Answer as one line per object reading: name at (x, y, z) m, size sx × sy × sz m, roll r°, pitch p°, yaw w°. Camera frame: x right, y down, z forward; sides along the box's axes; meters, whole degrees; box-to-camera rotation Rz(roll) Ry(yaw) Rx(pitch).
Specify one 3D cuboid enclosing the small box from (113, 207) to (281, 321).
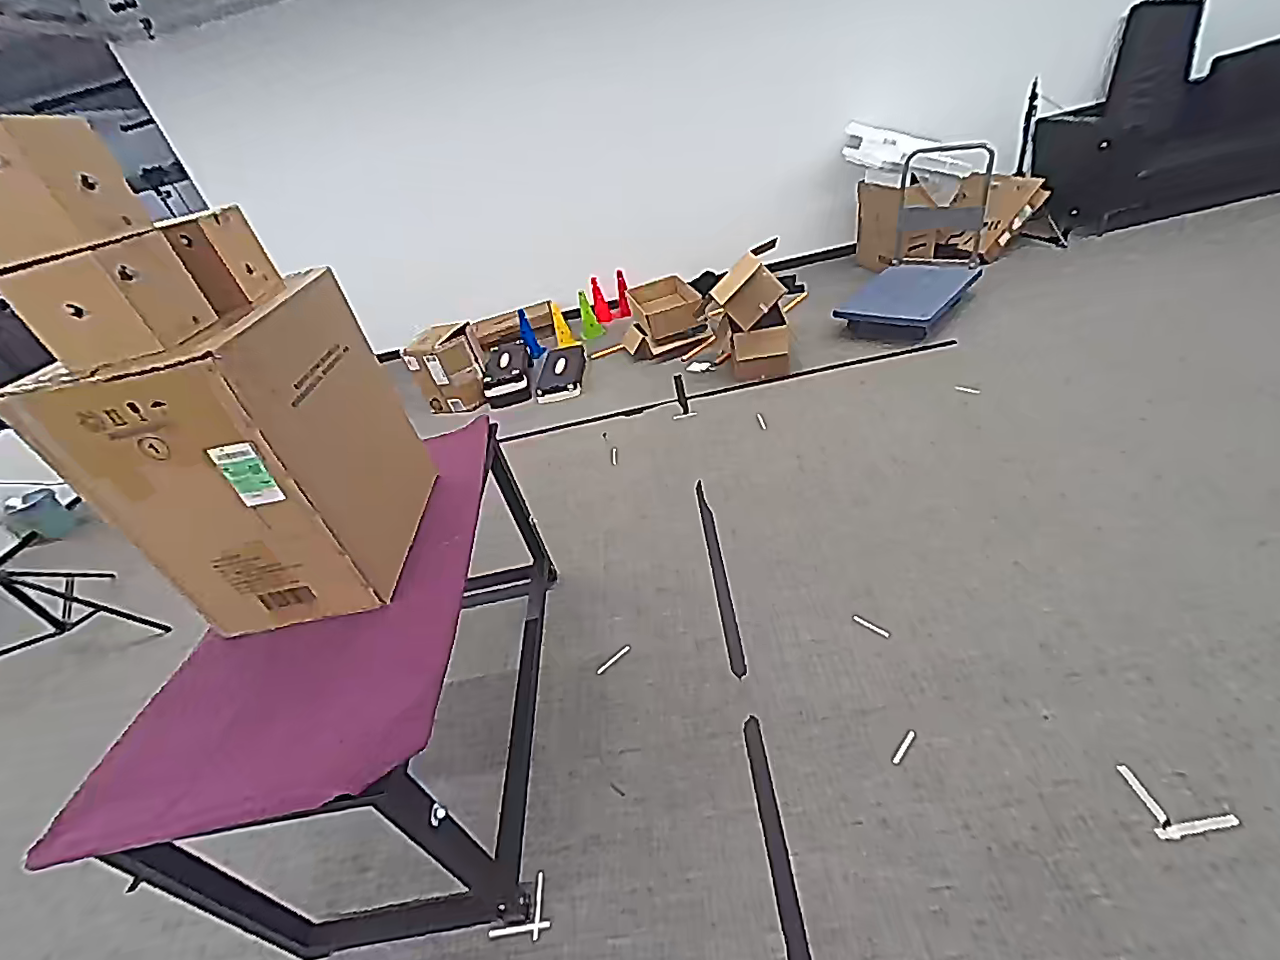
small box at (-0.907, -0.448, 1.128) m, size 0.179 × 0.176 × 0.168 m, roll -13°, pitch 36°, yaw 0°

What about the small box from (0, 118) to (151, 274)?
small box at (-0.920, -0.432, 0.823) m, size 0.179 × 0.176 × 0.168 m, roll -15°, pitch 33°, yaw 0°
